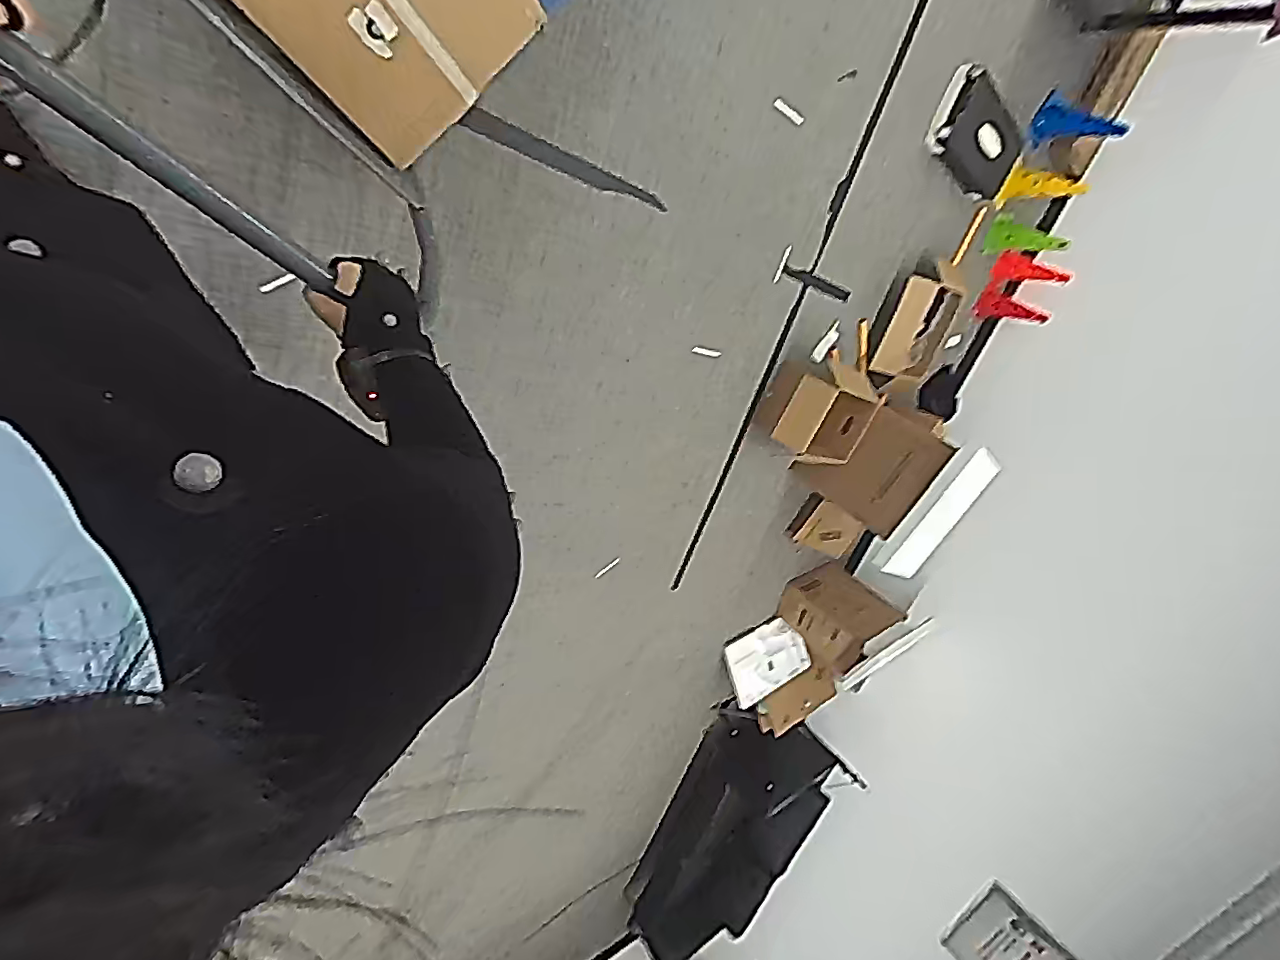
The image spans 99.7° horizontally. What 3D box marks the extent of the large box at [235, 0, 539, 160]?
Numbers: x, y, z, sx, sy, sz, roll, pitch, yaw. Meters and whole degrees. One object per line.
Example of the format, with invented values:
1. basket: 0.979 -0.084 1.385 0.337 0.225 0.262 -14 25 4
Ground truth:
1. large box: -0.424 -0.773 0.765 0.320 0.320 0.408 -38 142 10
